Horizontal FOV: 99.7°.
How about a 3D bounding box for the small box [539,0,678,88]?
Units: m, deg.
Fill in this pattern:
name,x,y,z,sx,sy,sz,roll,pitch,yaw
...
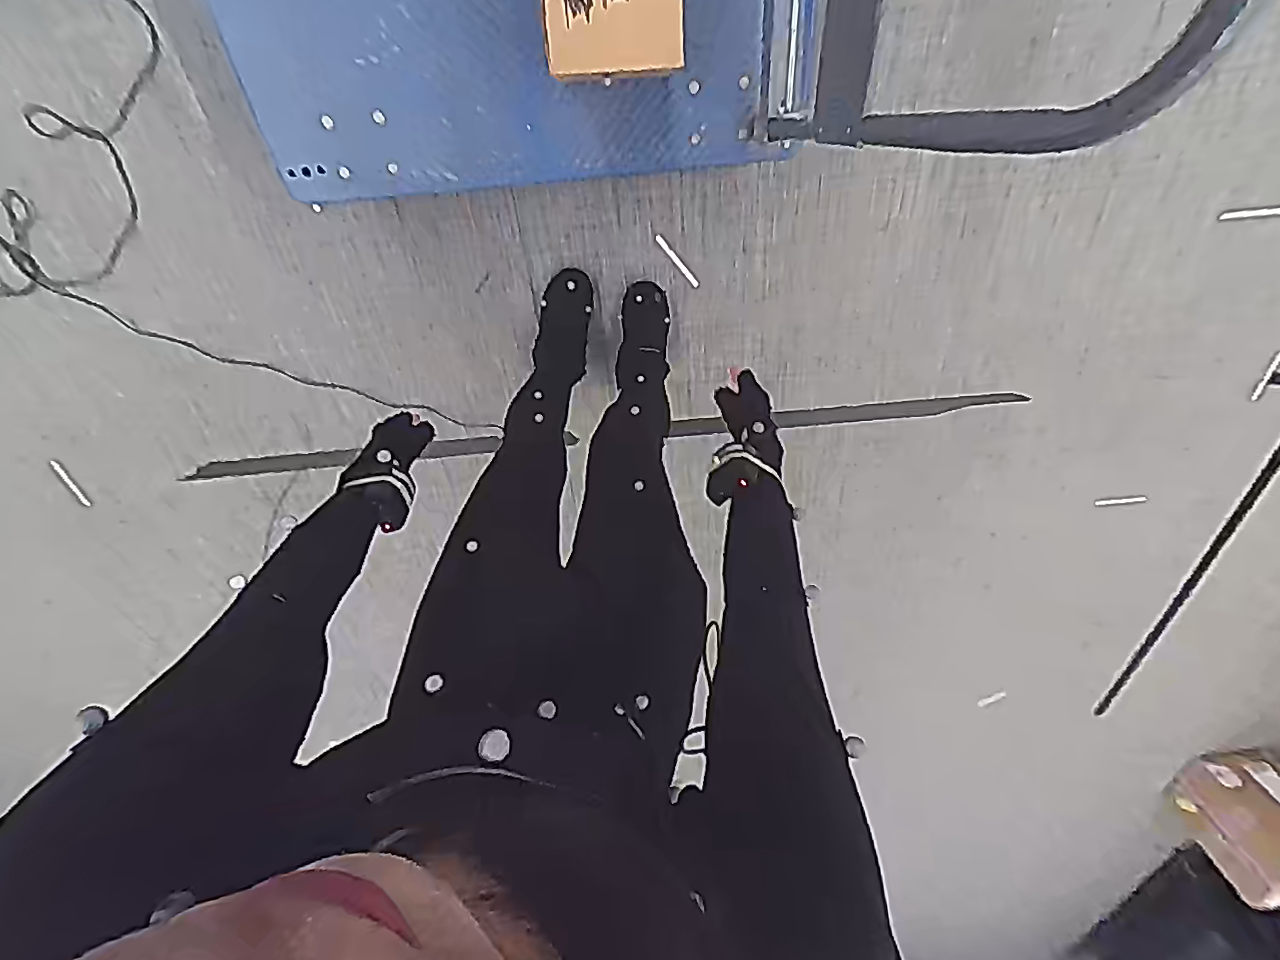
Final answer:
name,x,y,z,sx,sy,sz,roll,pitch,yaw
small box,-0.044,-0.641,0.734,0.179,0.176,0.168,-4,124,-2
